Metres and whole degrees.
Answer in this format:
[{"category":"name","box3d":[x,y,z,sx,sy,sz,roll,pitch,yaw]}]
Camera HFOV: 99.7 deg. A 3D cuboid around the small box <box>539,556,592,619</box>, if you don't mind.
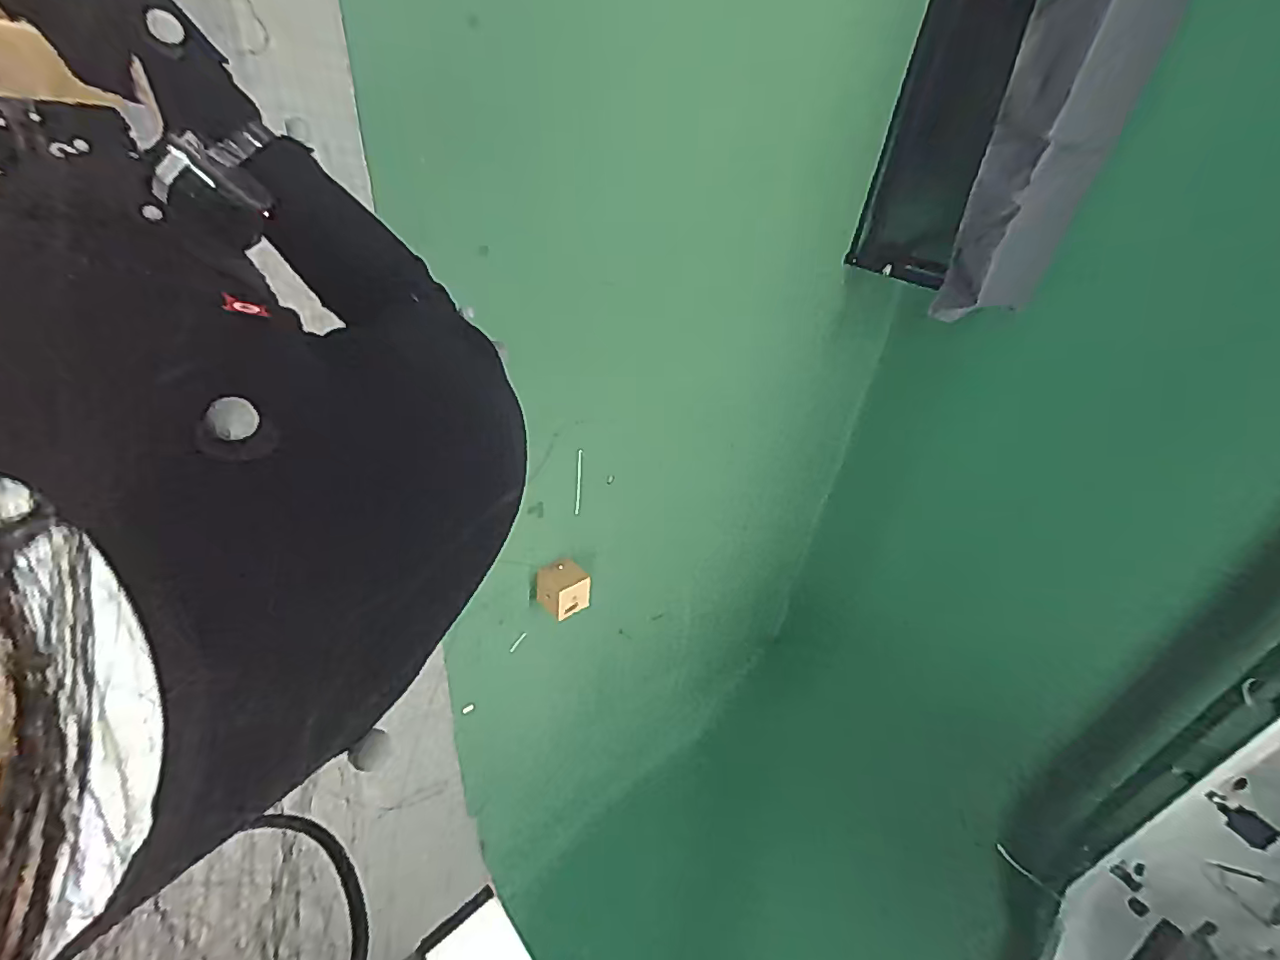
[{"category":"small box","box3d":[-0.333,0.469,2.377,0.168,0.176,0.179,-21,132,-38]}]
